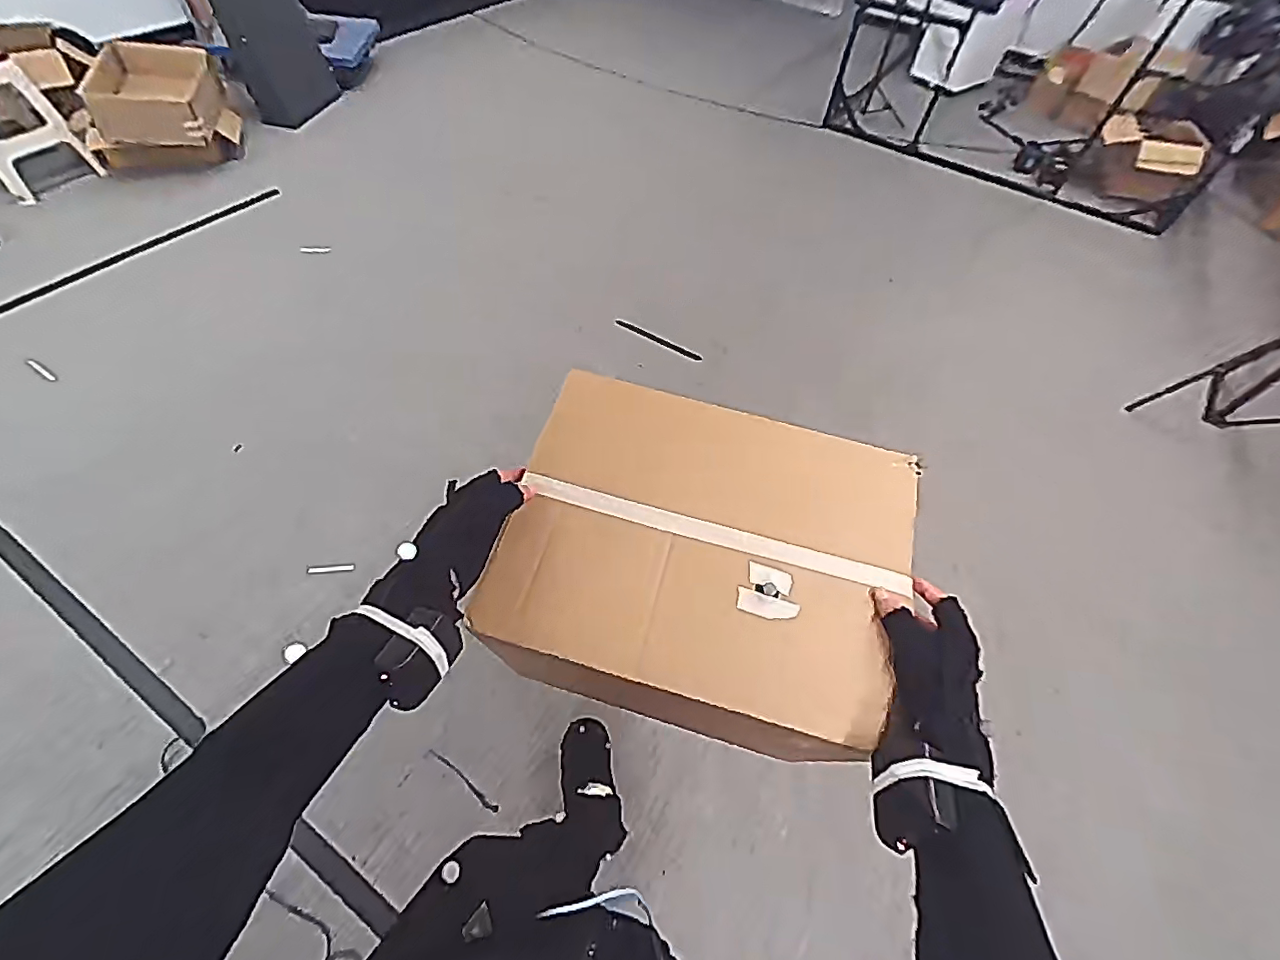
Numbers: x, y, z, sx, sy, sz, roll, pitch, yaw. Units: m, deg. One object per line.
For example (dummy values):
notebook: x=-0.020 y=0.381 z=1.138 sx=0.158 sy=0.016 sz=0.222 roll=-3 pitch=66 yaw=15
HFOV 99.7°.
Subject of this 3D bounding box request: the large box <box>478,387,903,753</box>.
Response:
large box: x=0.063 y=0.132 z=0.699 sx=0.408 sy=0.320 sz=0.320 roll=16 pitch=64 yaw=5
